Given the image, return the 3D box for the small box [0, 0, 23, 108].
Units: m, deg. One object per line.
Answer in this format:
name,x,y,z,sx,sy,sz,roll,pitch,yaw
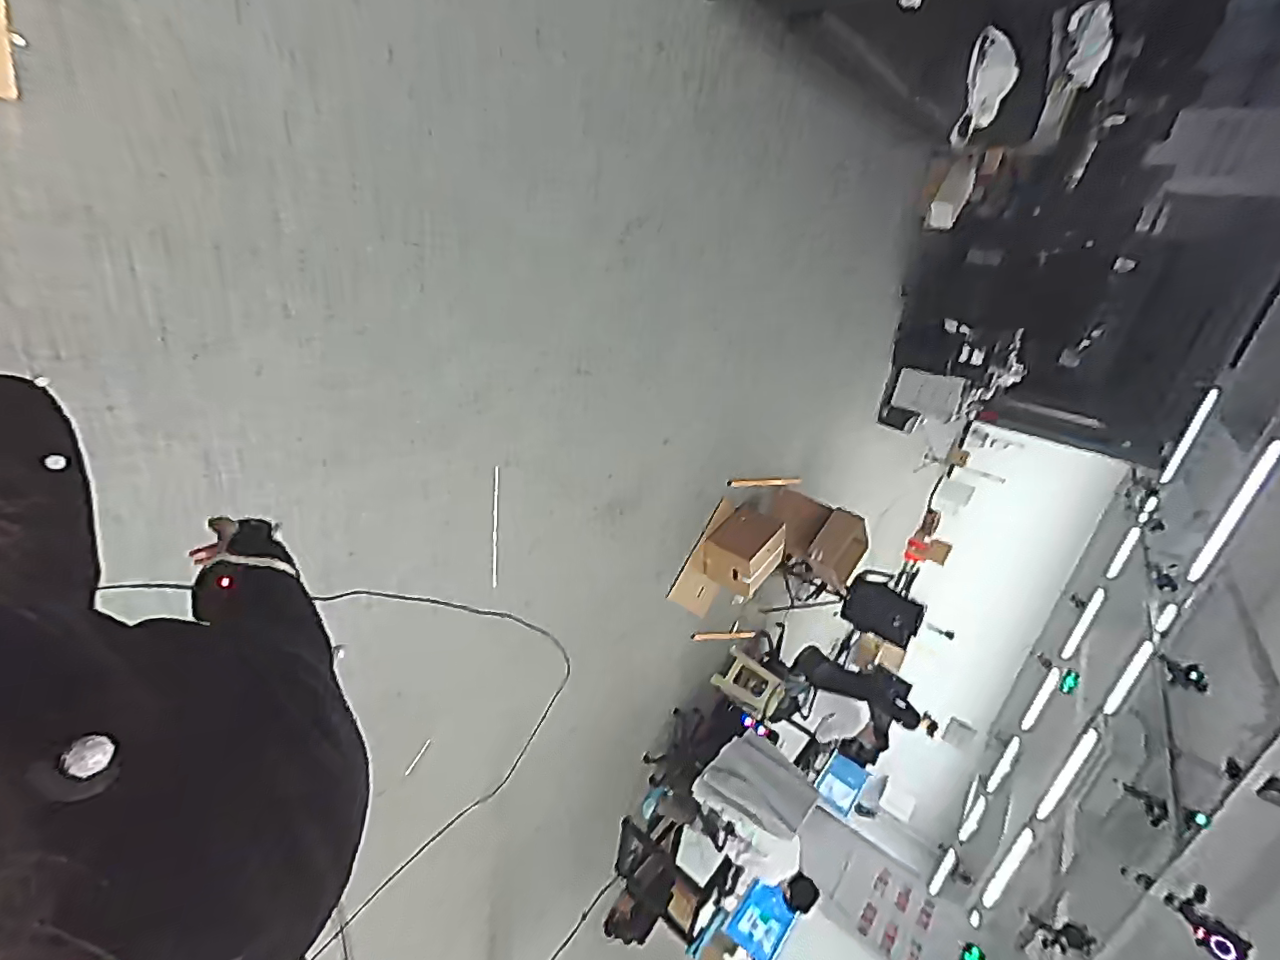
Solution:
small box,-0.937,-0.607,0.692,0.168,0.176,0.179,-12,120,-51
